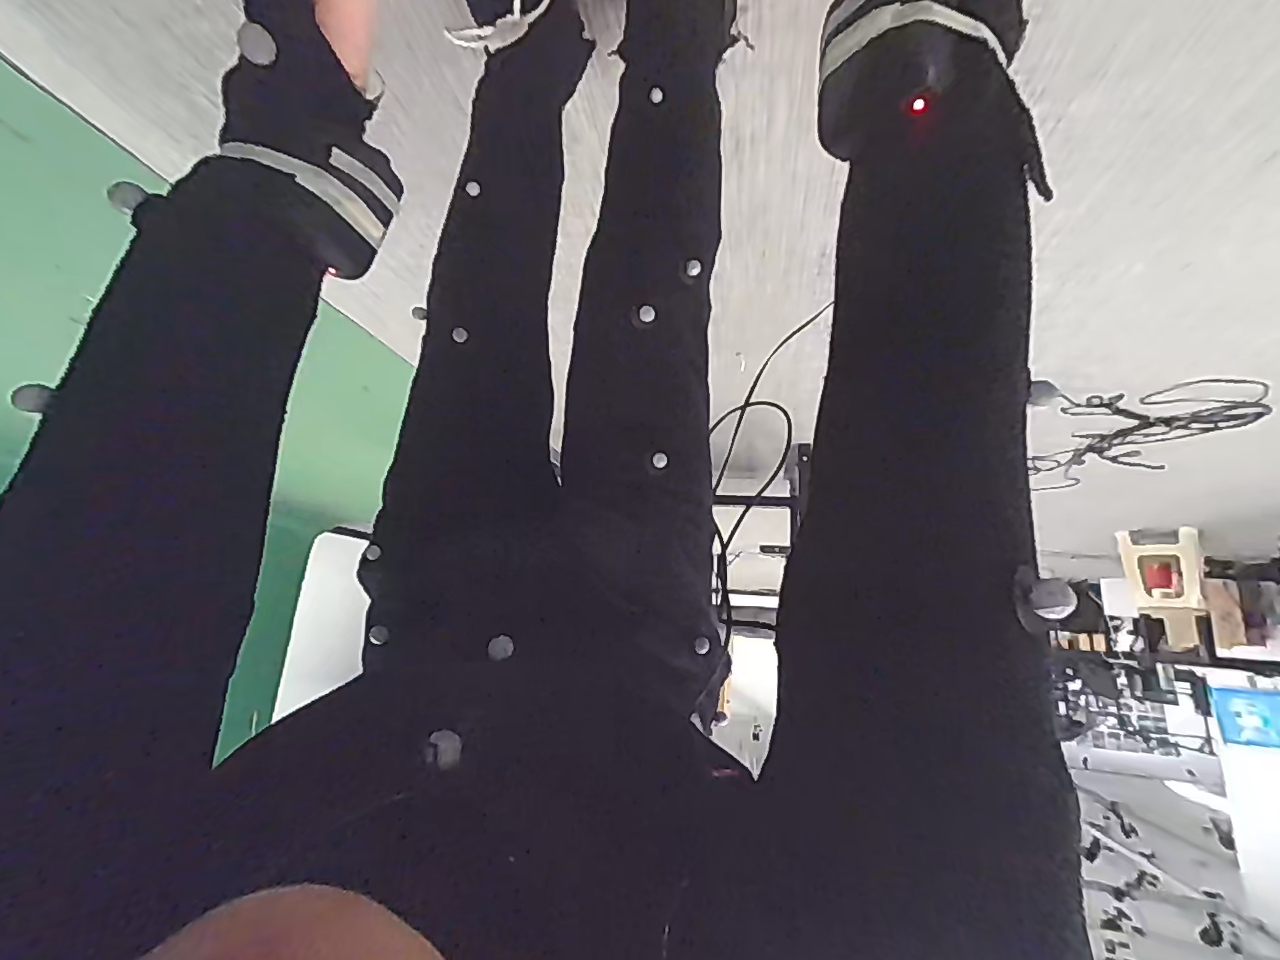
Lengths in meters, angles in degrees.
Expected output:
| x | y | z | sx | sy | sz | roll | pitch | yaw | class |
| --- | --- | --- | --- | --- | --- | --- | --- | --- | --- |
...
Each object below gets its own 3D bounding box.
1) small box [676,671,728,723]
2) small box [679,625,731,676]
| x | y | z | sx | sy | sz | roll | pitch | yaw | class |
| --- | --- | --- | --- | --- | --- | --- | --- | --- | --- |
| 0.245 | 0.823 | 2.084 | 0.179 | 0.176 | 0.168 | 1 | 164 | 18 | small box |
| 0.257 | 0.662 | 2.108 | 0.168 | 0.176 | 0.179 | -2 | 164 | 21 | small box |
